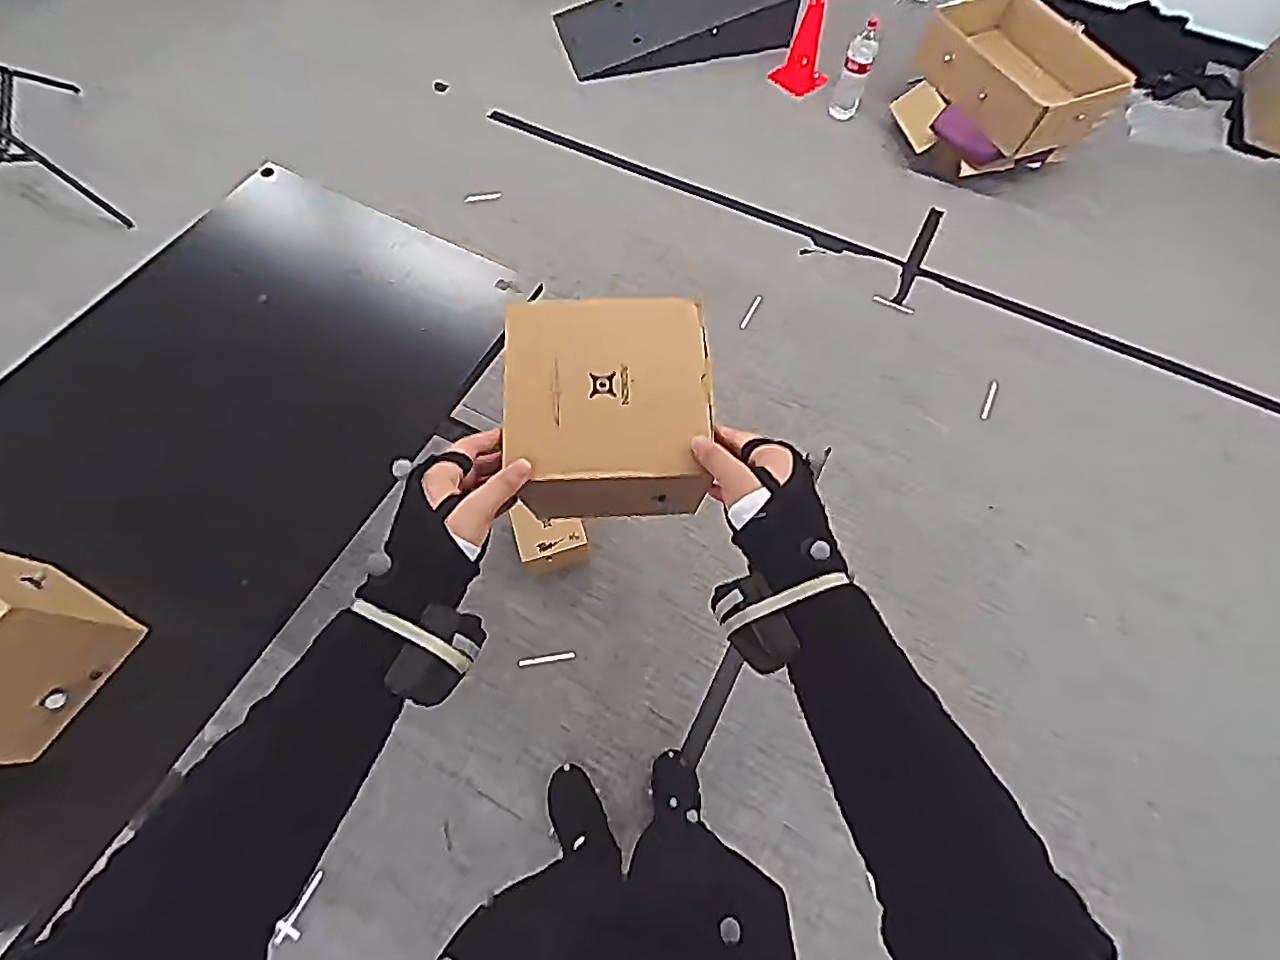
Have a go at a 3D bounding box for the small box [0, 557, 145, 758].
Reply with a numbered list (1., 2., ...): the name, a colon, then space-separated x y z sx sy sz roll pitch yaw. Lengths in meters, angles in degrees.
1. small box: -0.716 0.185 0.580 0.179 0.176 0.168 26 68 9

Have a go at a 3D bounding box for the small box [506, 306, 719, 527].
1. small box: -0.026 -0.051 0.535 0.179 0.176 0.168 -3 74 -1

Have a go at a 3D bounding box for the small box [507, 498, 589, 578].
1. small box: -0.236 0.135 1.410 0.168 0.176 0.179 -17 68 -8
